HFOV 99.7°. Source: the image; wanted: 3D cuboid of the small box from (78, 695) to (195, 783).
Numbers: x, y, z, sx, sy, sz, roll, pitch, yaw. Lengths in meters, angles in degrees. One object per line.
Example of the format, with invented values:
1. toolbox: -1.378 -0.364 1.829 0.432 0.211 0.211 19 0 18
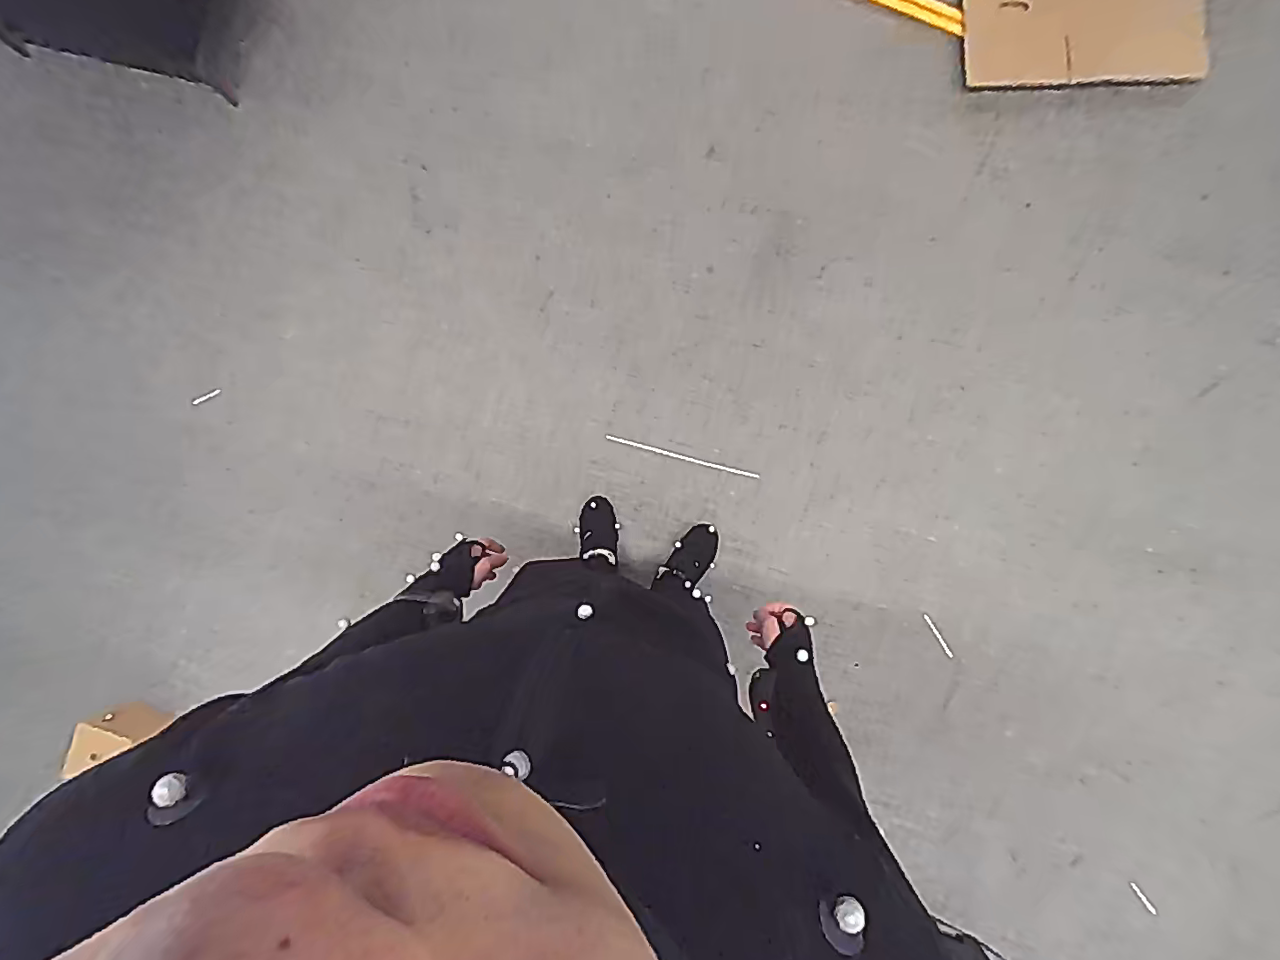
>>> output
1. small box: -1.538 0.784 1.660 0.179 0.176 0.168 17 89 5
